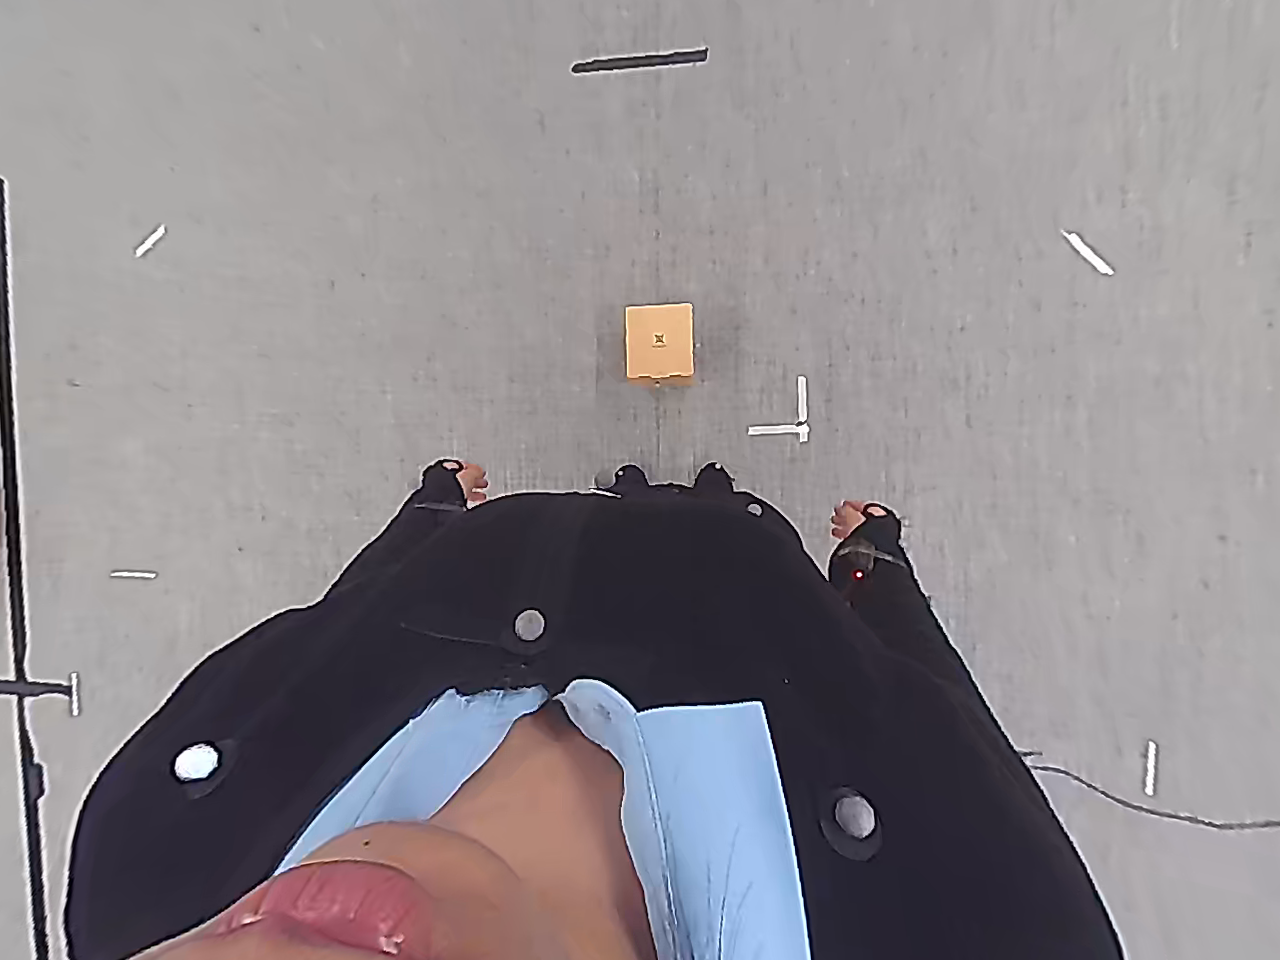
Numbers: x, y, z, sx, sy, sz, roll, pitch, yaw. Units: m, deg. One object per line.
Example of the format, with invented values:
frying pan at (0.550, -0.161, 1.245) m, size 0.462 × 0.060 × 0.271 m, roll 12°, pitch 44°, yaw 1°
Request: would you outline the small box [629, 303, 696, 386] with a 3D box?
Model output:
small box at (0.060, -0.343, 1.395) m, size 0.168 × 0.176 × 0.179 m, roll -1°, pitch 93°, yaw 6°
